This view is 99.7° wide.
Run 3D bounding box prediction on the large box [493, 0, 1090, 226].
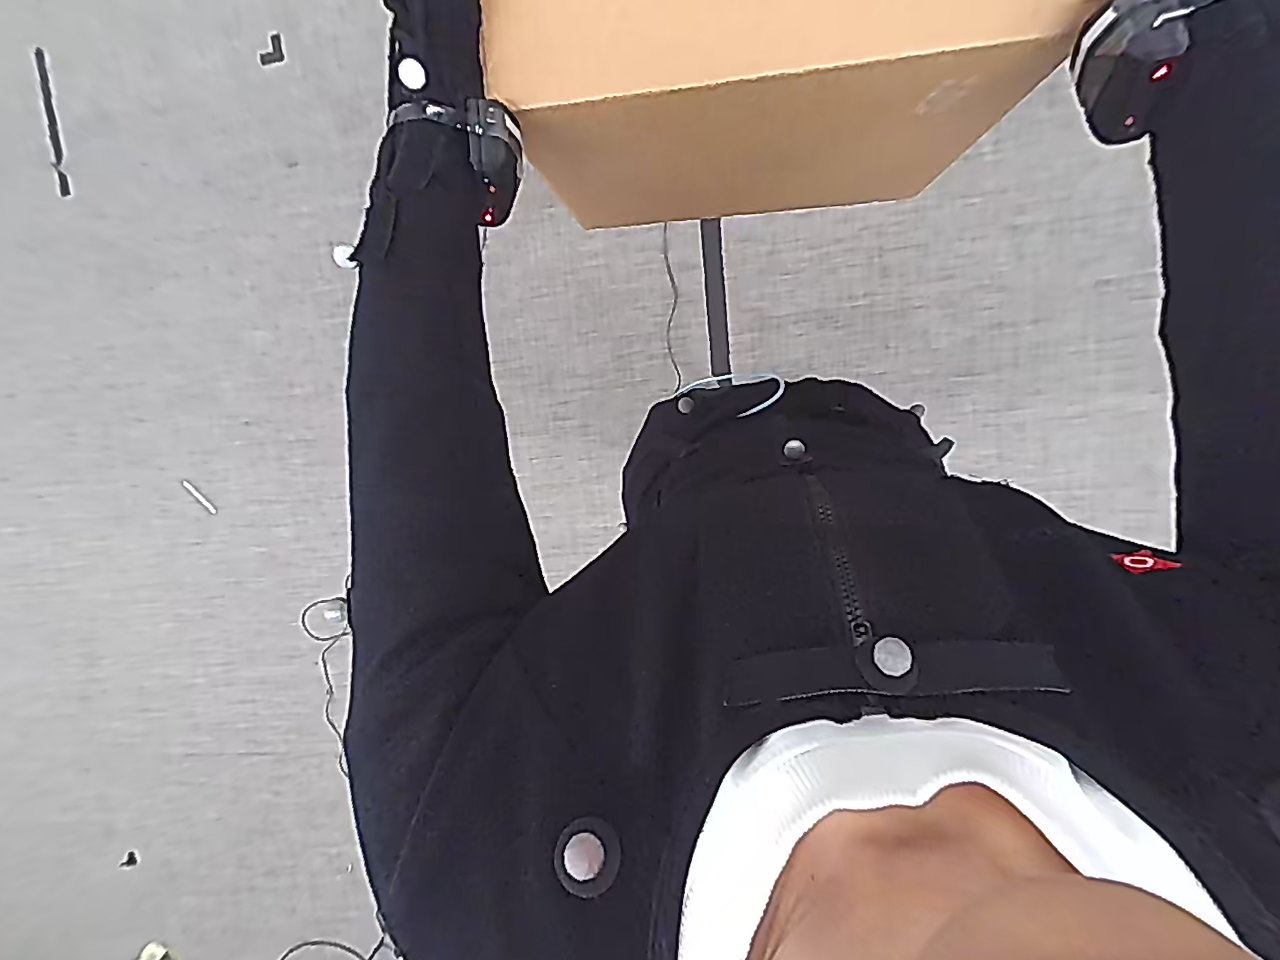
[{"bbox_3d":[0.098,-0.458,0.496,0.408,0.320,0.320,-3,100,7],"label":"large box"}]
